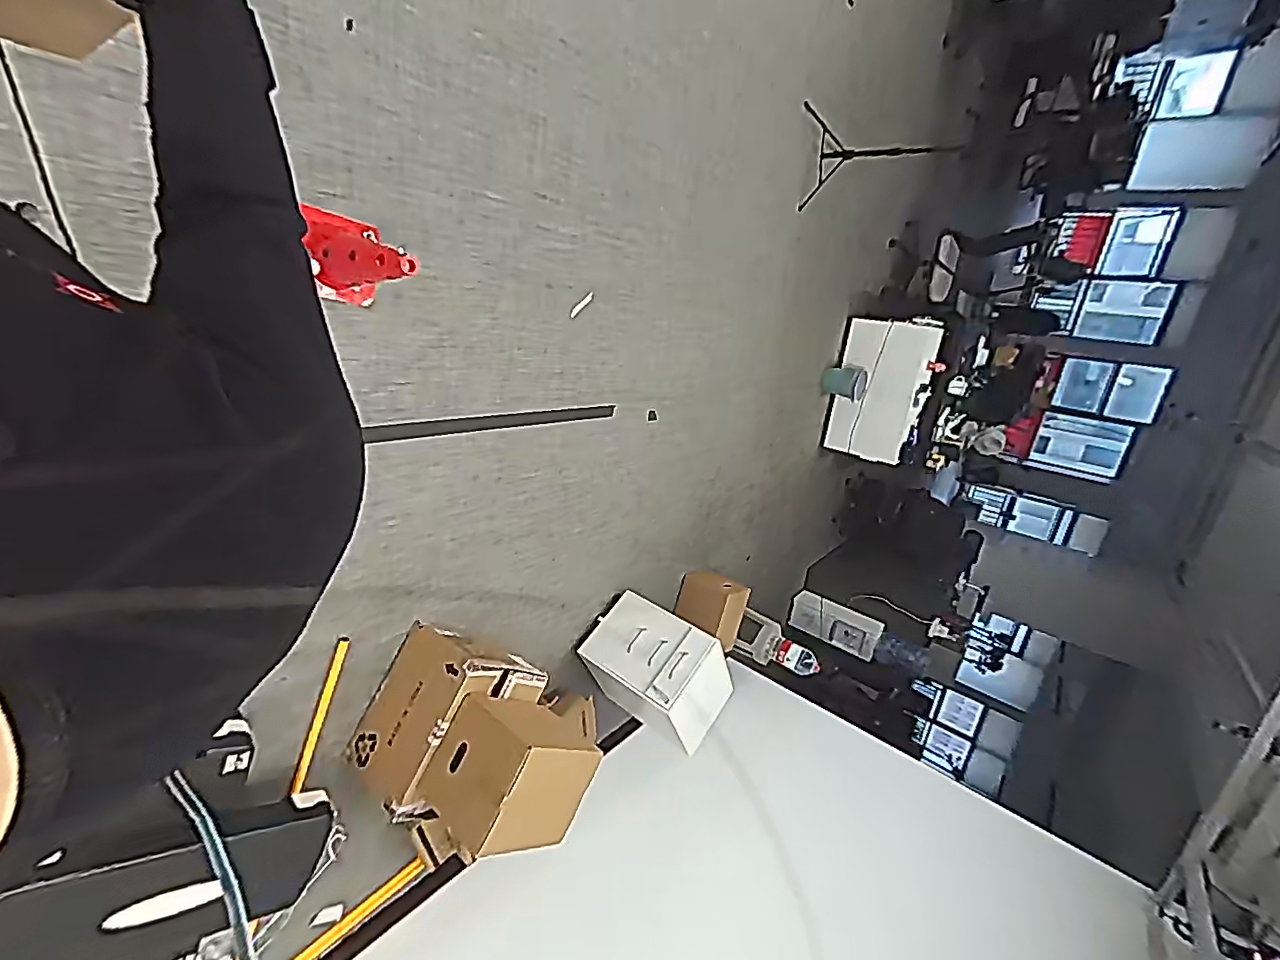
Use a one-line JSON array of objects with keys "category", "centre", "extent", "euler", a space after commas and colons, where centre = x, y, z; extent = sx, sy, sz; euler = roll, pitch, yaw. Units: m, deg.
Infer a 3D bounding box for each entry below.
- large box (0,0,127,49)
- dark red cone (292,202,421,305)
[{"category": "large box", "centre": [-0.555, -0.484, 0.255], "extent": [0.408, 0.320, 0.320], "euler": [-15, 121, -49]}, {"category": "dark red cone", "centre": [-0.605, -0.491, 1.211], "extent": [0.201, 0.394, 0.202], "euler": [-5, 110, -51]}]
